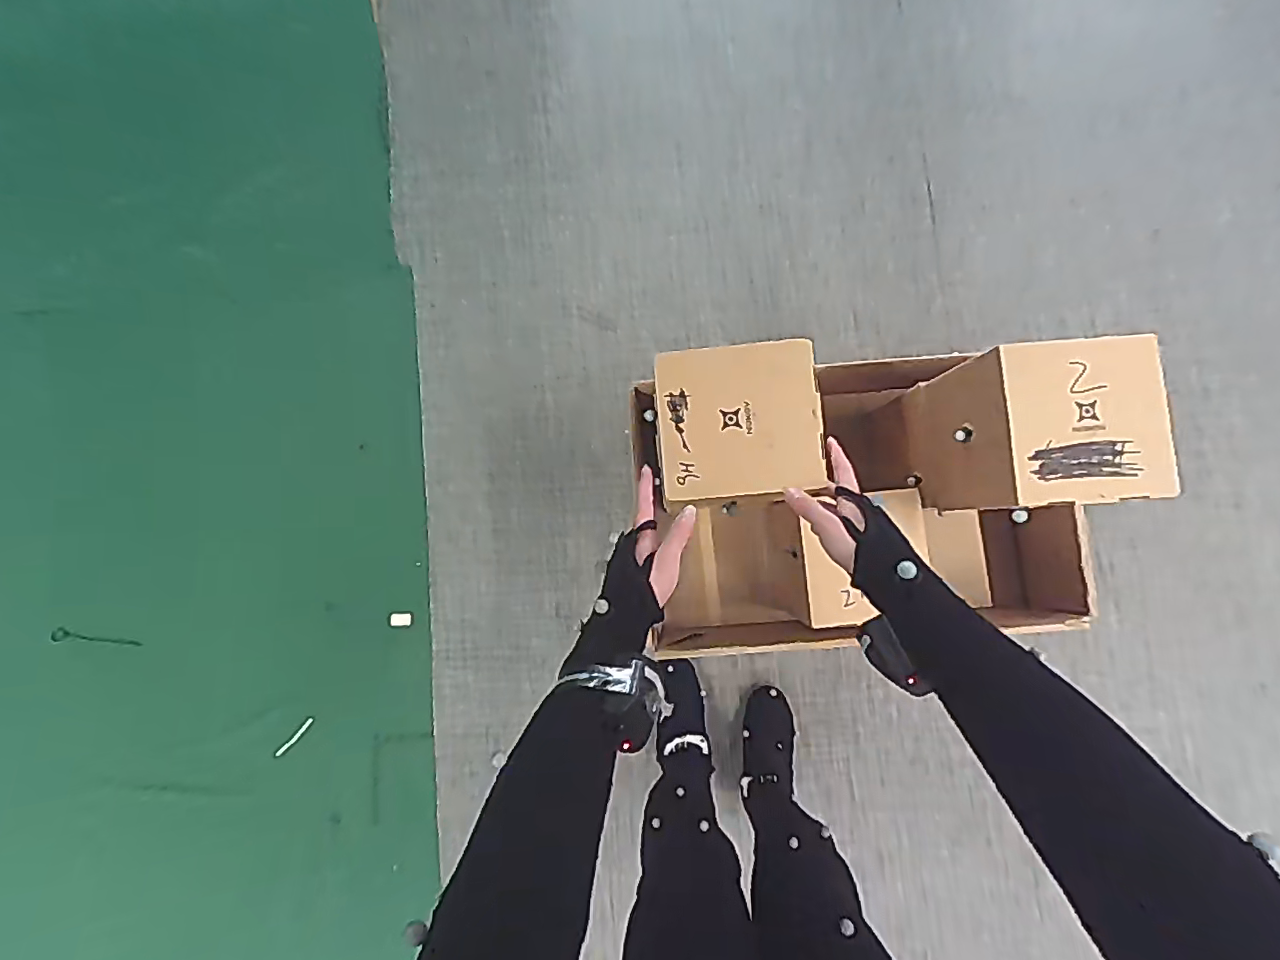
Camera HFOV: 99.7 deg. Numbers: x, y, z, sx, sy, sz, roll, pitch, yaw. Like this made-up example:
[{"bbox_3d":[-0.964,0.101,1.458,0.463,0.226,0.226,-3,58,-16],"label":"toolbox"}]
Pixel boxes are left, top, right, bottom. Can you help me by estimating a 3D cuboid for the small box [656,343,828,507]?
[{"bbox_3d":[0.111,-0.056,0.659,0.179,0.176,0.168,-4,84,2],"label":"small box"}]
